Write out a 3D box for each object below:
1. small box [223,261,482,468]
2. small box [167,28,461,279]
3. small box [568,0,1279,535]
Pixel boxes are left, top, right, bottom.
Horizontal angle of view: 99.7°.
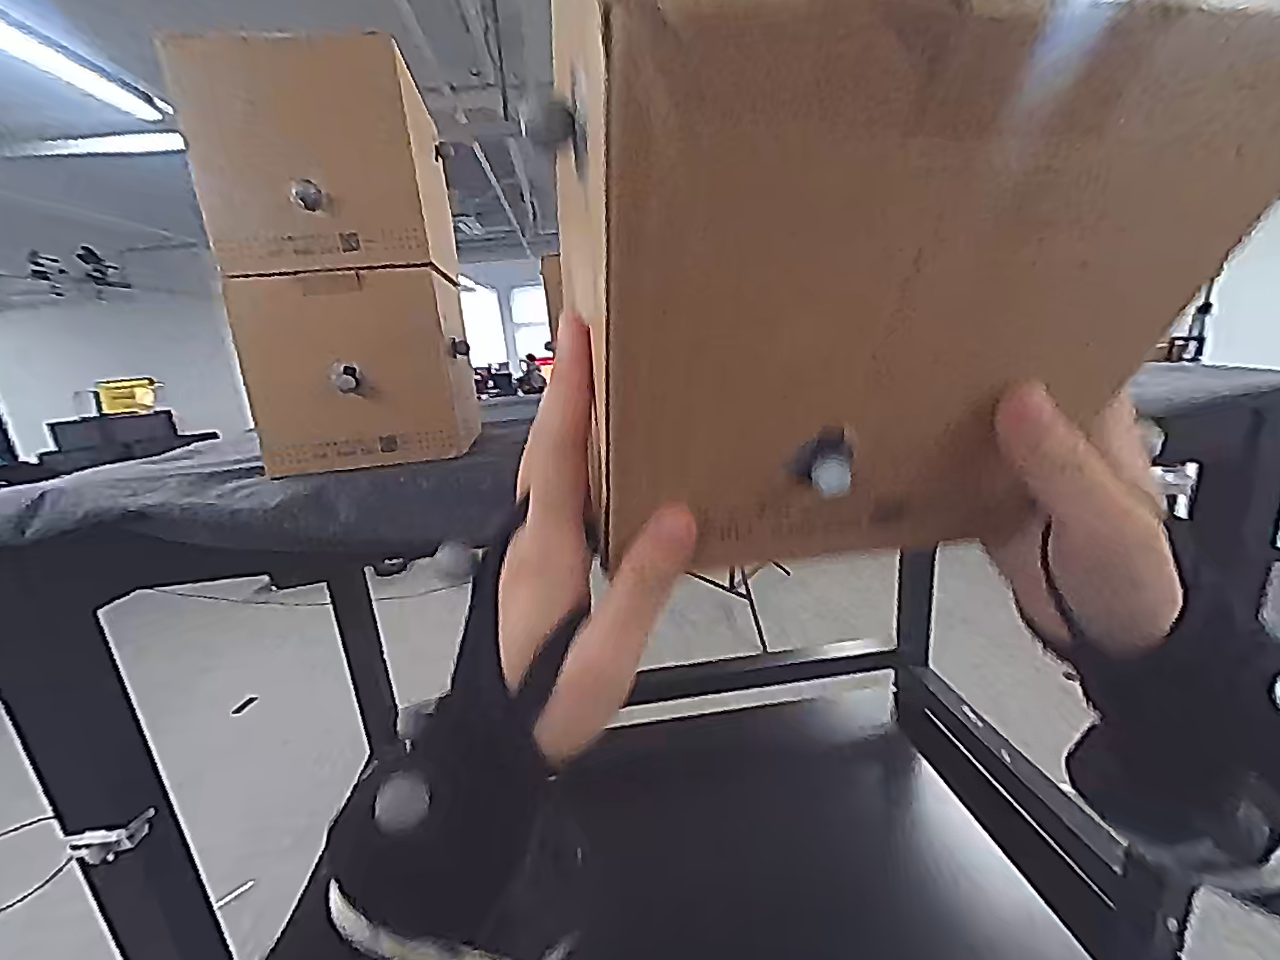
[{"bbox_3d":[-0.258,-0.111,0.536,0.168,0.176,0.179,-7,14,-9],"label":"small box"},{"bbox_3d":[-0.270,-0.271,0.499,0.168,0.176,0.179,-8,14,-8],"label":"small box"},{"bbox_3d":[0.060,-0.102,0.207,0.168,0.176,0.179,-5,47,-8],"label":"small box"}]
